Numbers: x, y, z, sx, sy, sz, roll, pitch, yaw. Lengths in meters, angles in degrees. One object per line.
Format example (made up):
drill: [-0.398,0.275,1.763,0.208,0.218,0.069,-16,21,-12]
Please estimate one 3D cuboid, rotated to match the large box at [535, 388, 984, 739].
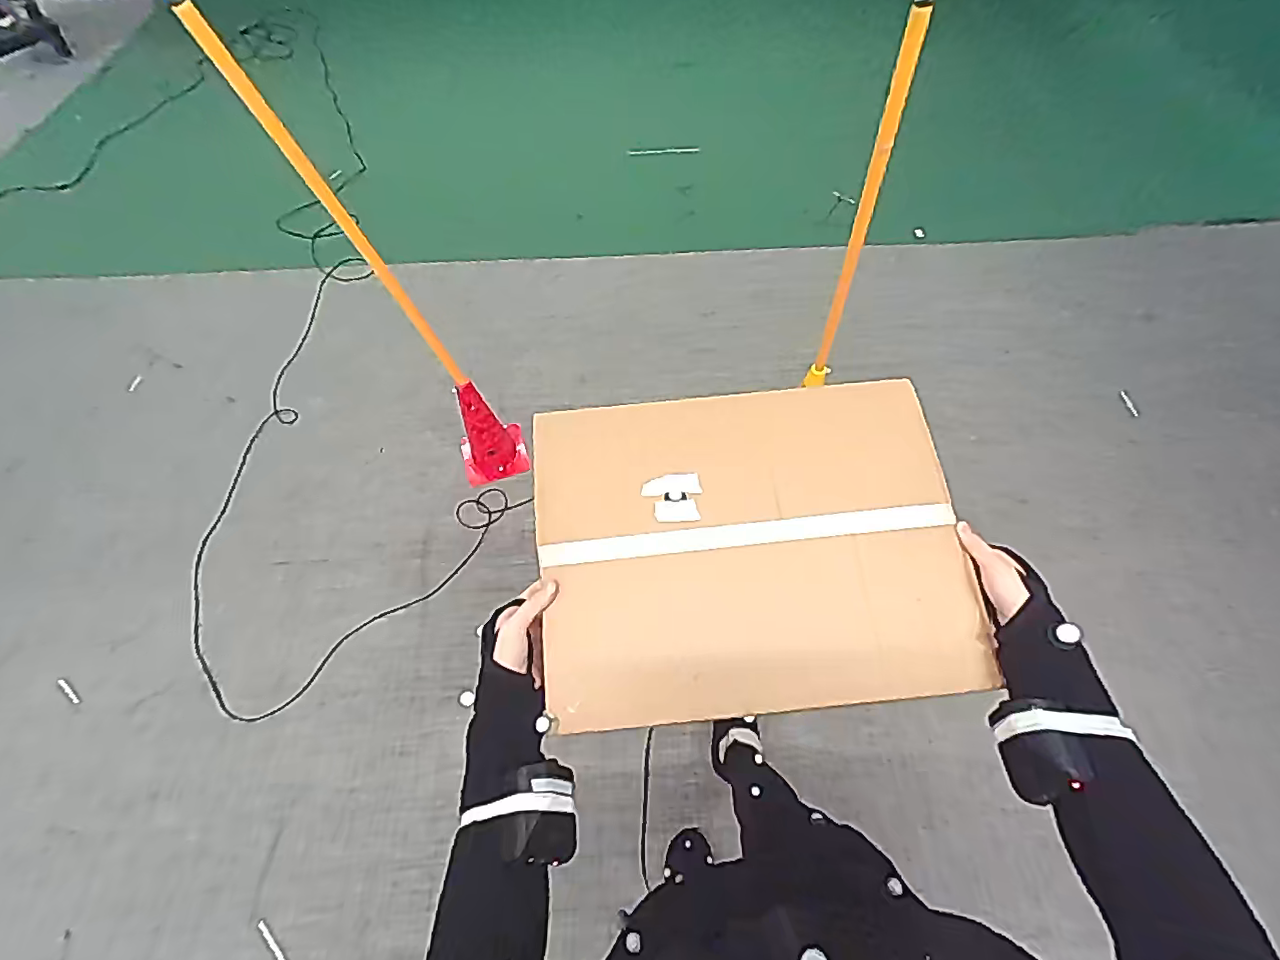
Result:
large box: [0.106,0.116,0.676,0.408,0.320,0.320,-7,68,0]
